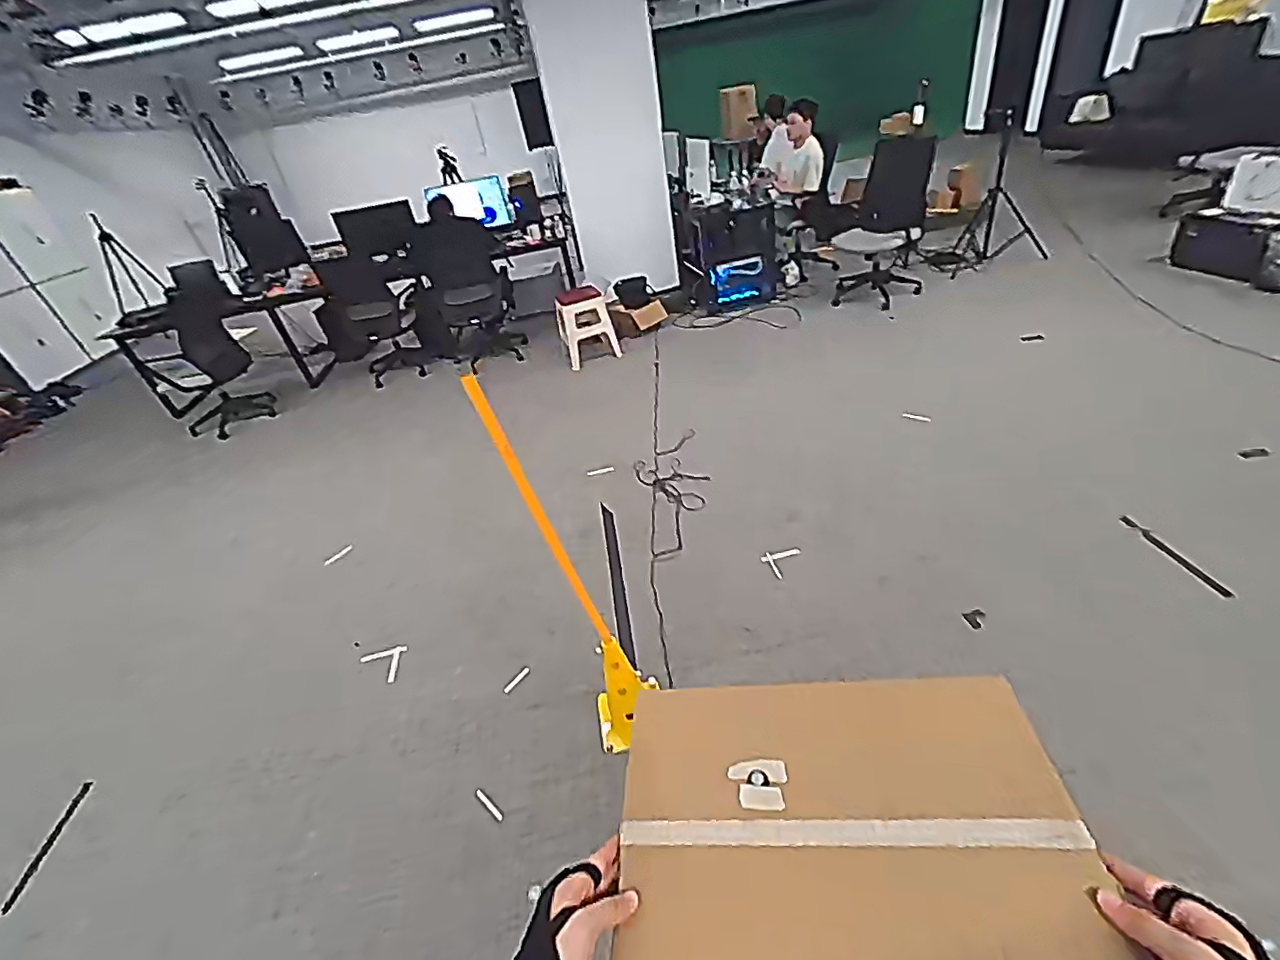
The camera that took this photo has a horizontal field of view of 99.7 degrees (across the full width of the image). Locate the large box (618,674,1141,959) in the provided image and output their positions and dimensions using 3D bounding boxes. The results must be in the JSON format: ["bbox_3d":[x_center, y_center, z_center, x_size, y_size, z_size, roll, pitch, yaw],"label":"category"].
[{"bbox_3d":[0.212,0.452,0.584,0.408,0.320,0.320,-9,31,9],"label":"large box"}]
